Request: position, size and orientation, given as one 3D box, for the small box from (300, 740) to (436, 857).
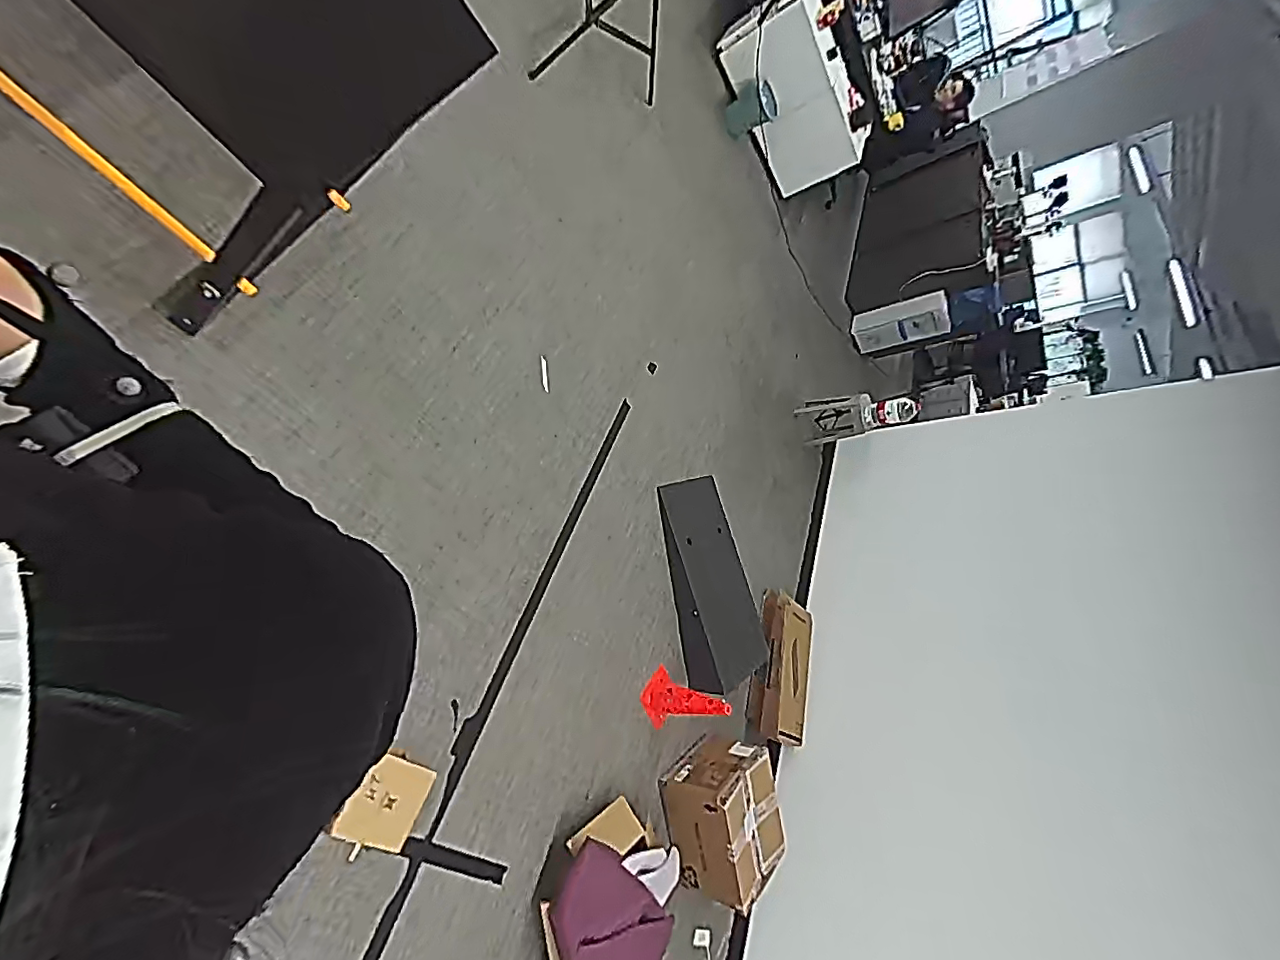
[{"bbox_3d":[-0.602,0.700,1.200,0.179,0.176,0.168,48,50,-34],"label":"small box"}]
